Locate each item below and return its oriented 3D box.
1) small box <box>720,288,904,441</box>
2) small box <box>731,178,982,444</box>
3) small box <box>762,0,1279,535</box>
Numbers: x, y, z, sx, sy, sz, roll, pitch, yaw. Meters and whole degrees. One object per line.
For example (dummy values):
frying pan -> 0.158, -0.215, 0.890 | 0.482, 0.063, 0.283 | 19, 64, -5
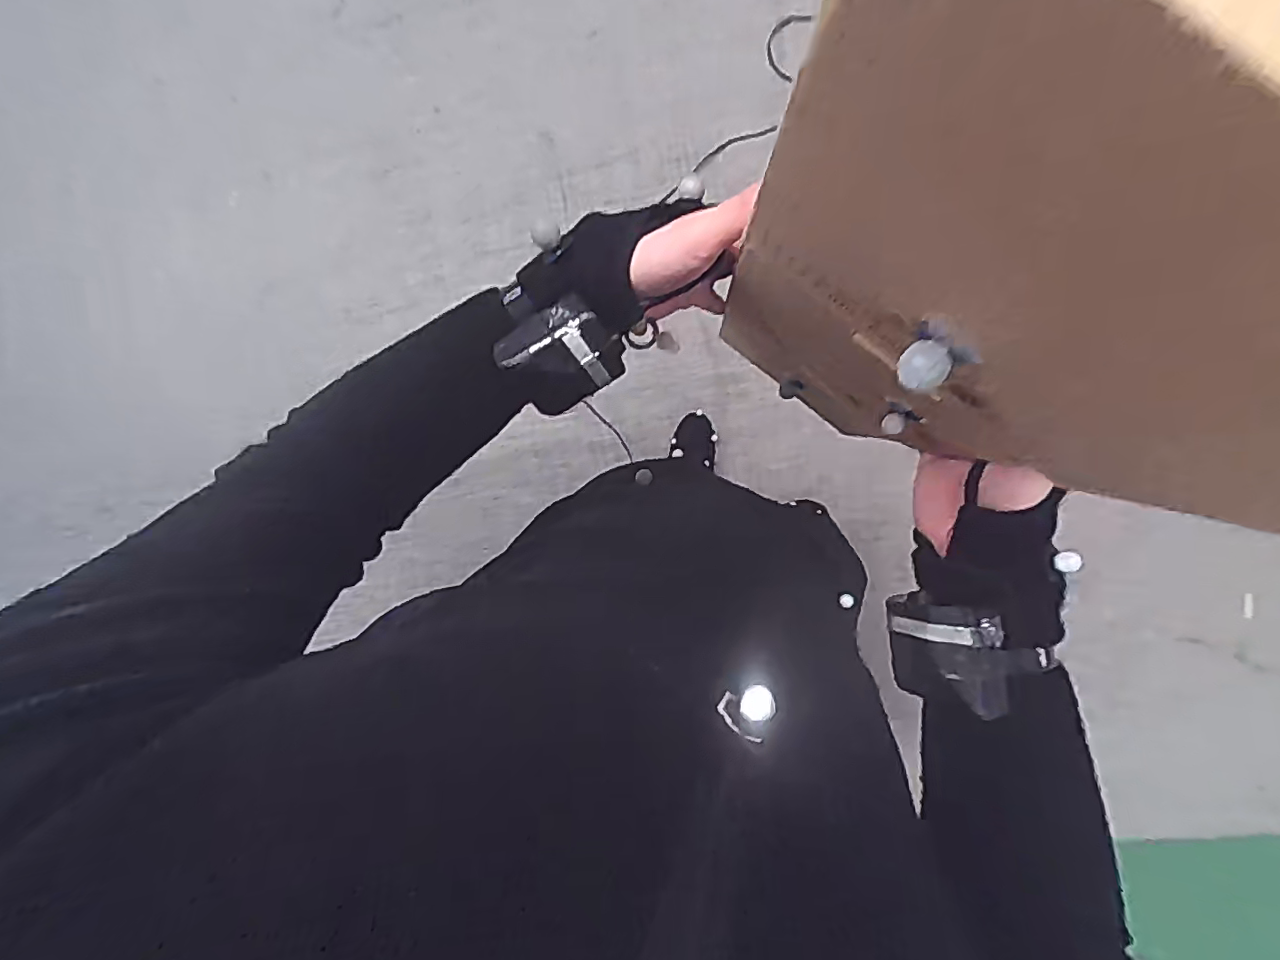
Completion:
small box -> 0.182, -0.151, 0.442 | 0.168, 0.176, 0.179 | 38, 100, 1
small box -> 0.161, -0.129, 0.282 | 0.168, 0.176, 0.179 | 36, 98, 0
small box -> 0.145, -0.101, 0.121 | 0.168, 0.176, 0.179 | 37, 101, 0
